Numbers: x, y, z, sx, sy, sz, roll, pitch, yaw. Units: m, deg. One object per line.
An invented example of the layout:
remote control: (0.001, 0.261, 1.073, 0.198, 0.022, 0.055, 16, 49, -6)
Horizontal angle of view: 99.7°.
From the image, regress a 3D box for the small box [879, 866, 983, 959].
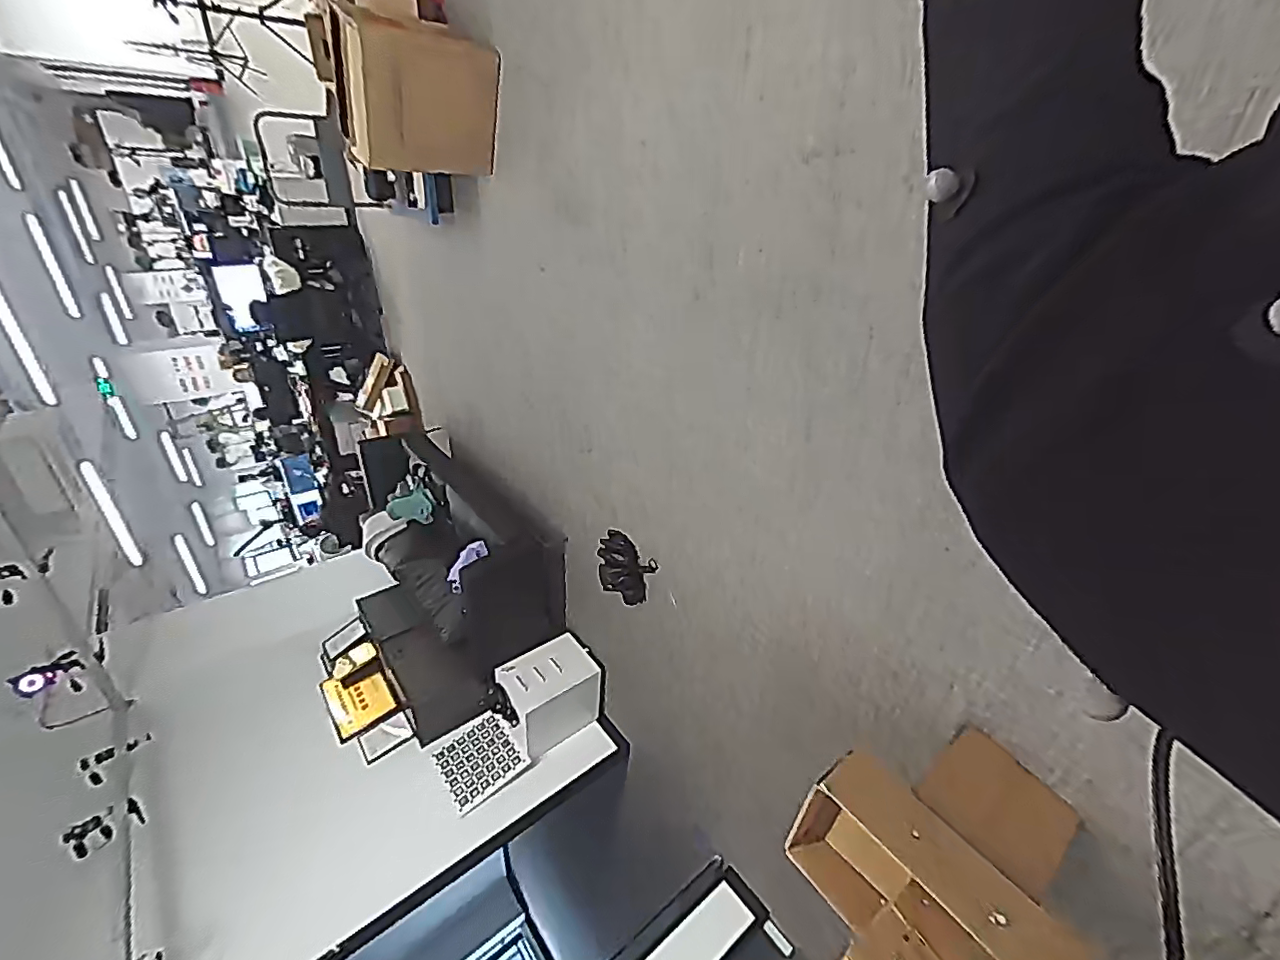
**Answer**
small box: (0.712, 1.111, 1.341, 0.168, 0.176, 0.179, 41, 139, 40)

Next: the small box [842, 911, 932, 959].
small box: (0.578, 1.163, 1.261, 0.168, 0.176, 0.179, 41, 136, 40)
